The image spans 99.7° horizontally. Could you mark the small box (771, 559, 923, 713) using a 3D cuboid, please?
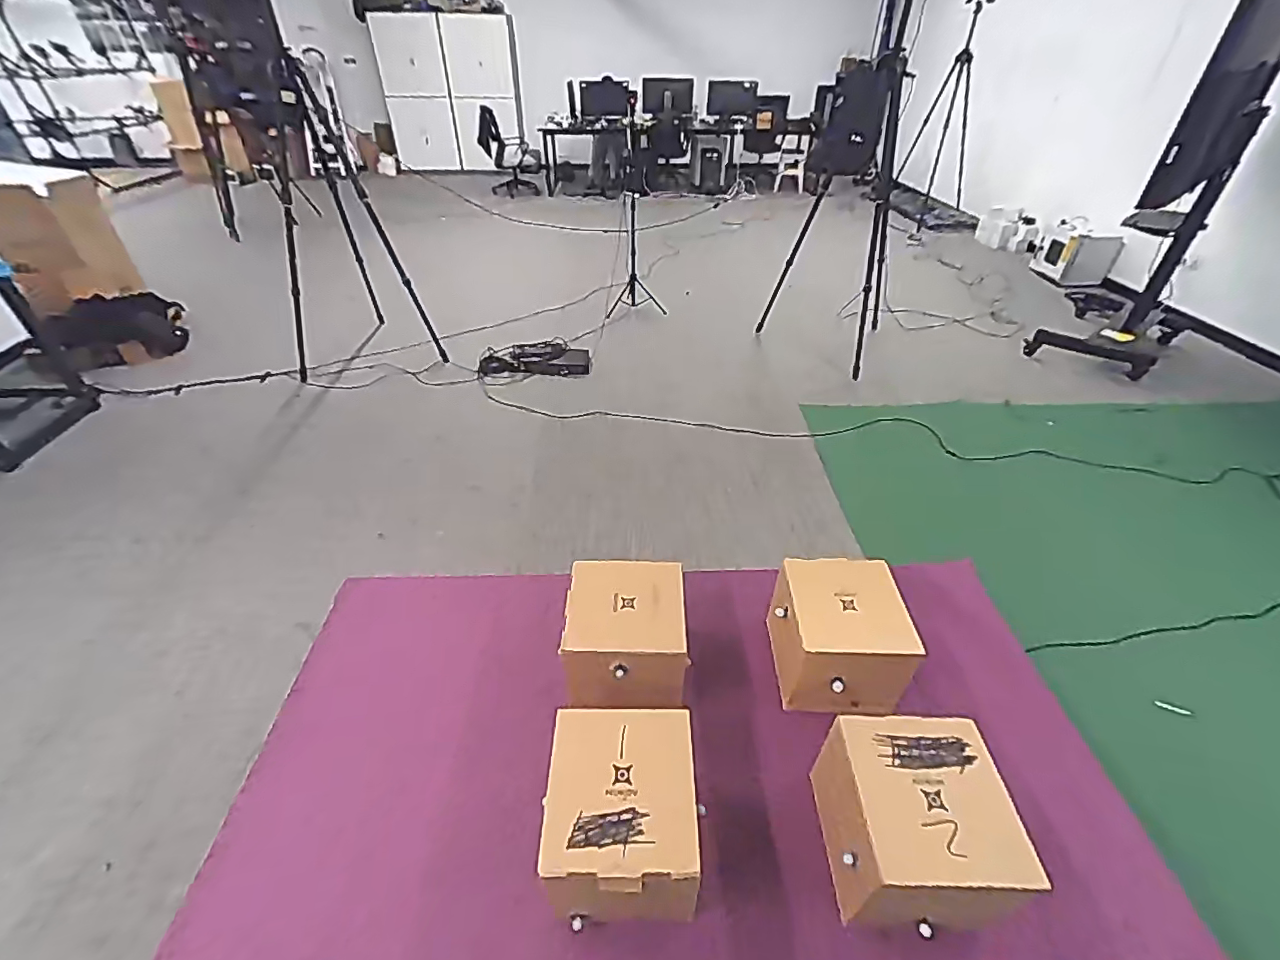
[{"bbox_3d":[0.309,0.244,0.847,0.168,0.176,0.179,1,38,2],"label":"small box"}]

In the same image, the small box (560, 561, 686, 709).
[{"bbox_3d":[-0.020,0.246,0.848,0.179,0.176,0.168,2,39,1],"label":"small box"}]

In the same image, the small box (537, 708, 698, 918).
[{"bbox_3d":[-0.020,0.400,0.651,0.168,0.176,0.179,0,37,0],"label":"small box"}]
